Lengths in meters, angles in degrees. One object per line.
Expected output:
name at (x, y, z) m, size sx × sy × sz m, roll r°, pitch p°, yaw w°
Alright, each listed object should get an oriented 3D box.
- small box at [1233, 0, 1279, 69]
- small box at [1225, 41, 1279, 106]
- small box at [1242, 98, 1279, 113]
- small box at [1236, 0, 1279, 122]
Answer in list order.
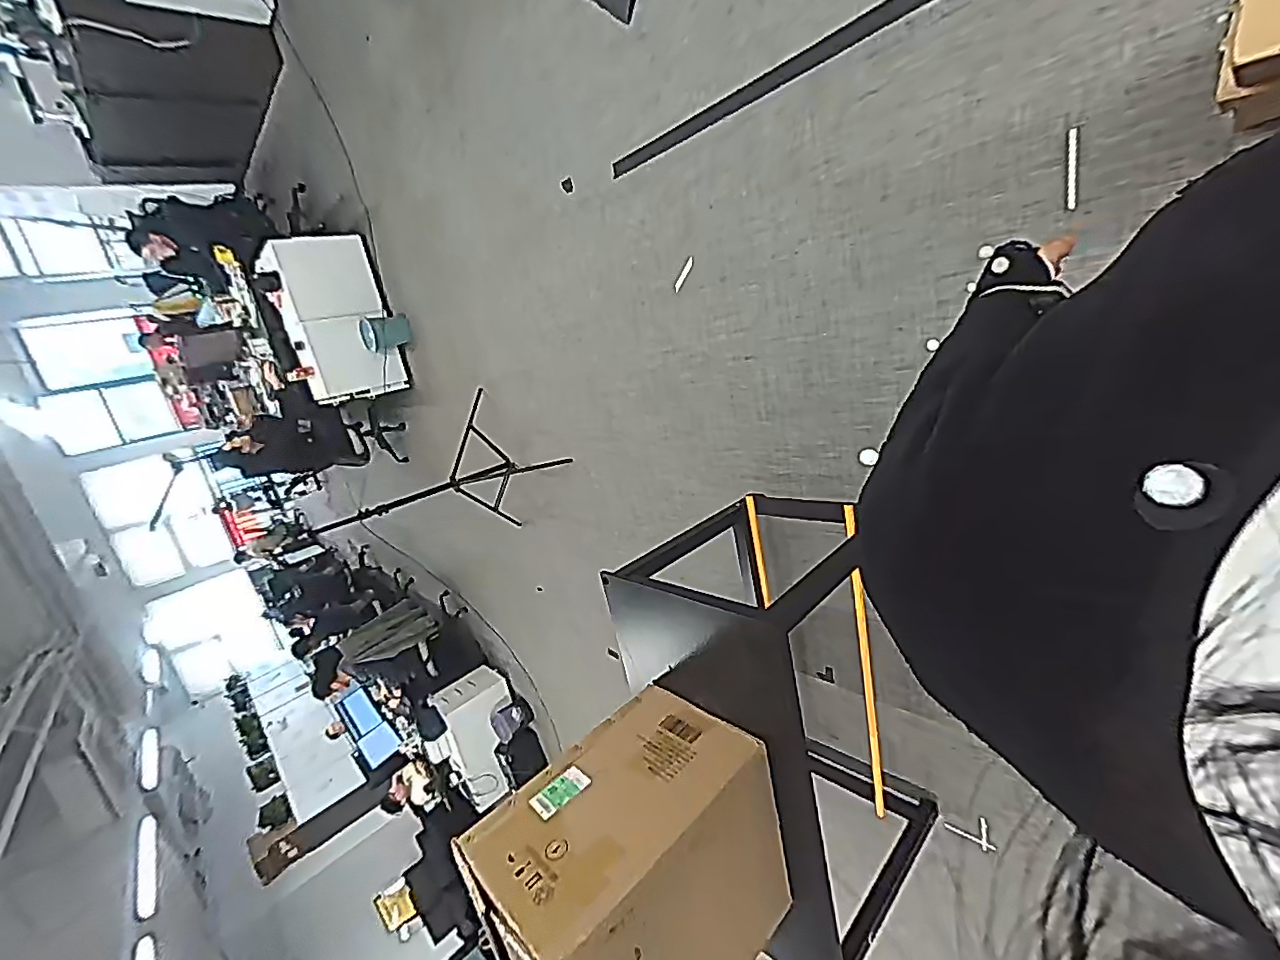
small box at (0.667, -0.497, 0.480) m, size 0.168 × 0.176 × 0.179 m, roll 10°, pitch 117°, yaw 47°
small box at (0.781, -0.539, 0.592) m, size 0.168 × 0.176 × 0.179 m, roll 14°, pitch 121°, yaw 46°
small box at (0.896, -0.600, 0.689) m, size 0.168 × 0.176 × 0.179 m, roll 6°, pitch 115°, yaw 48°
small box at (1.011, -0.655, 0.793) m, size 0.179 × 0.176 × 0.168 m, roll 0°, pitch 110°, yaw 49°
